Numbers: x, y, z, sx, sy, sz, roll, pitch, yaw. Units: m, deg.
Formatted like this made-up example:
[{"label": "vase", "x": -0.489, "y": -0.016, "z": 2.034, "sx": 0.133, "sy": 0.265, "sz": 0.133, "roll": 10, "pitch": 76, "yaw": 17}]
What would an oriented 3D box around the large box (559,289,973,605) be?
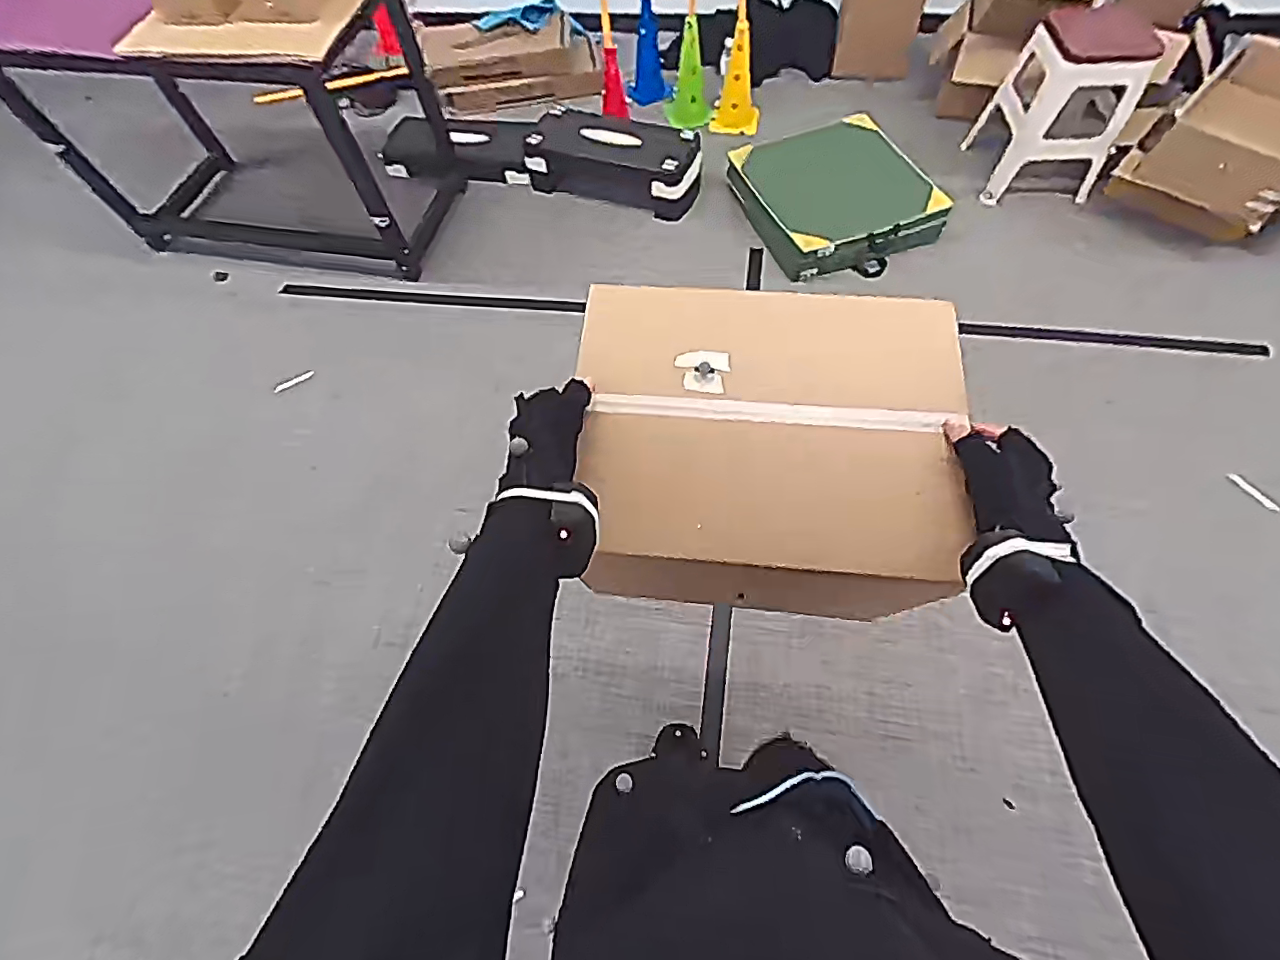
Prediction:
[{"label": "large box", "x": 0.143, "y": -0.021, "z": 0.711, "sx": 0.408, "sy": 0.320, "sz": 0.320, "roll": 5, "pitch": 70, "yaw": 6}]
